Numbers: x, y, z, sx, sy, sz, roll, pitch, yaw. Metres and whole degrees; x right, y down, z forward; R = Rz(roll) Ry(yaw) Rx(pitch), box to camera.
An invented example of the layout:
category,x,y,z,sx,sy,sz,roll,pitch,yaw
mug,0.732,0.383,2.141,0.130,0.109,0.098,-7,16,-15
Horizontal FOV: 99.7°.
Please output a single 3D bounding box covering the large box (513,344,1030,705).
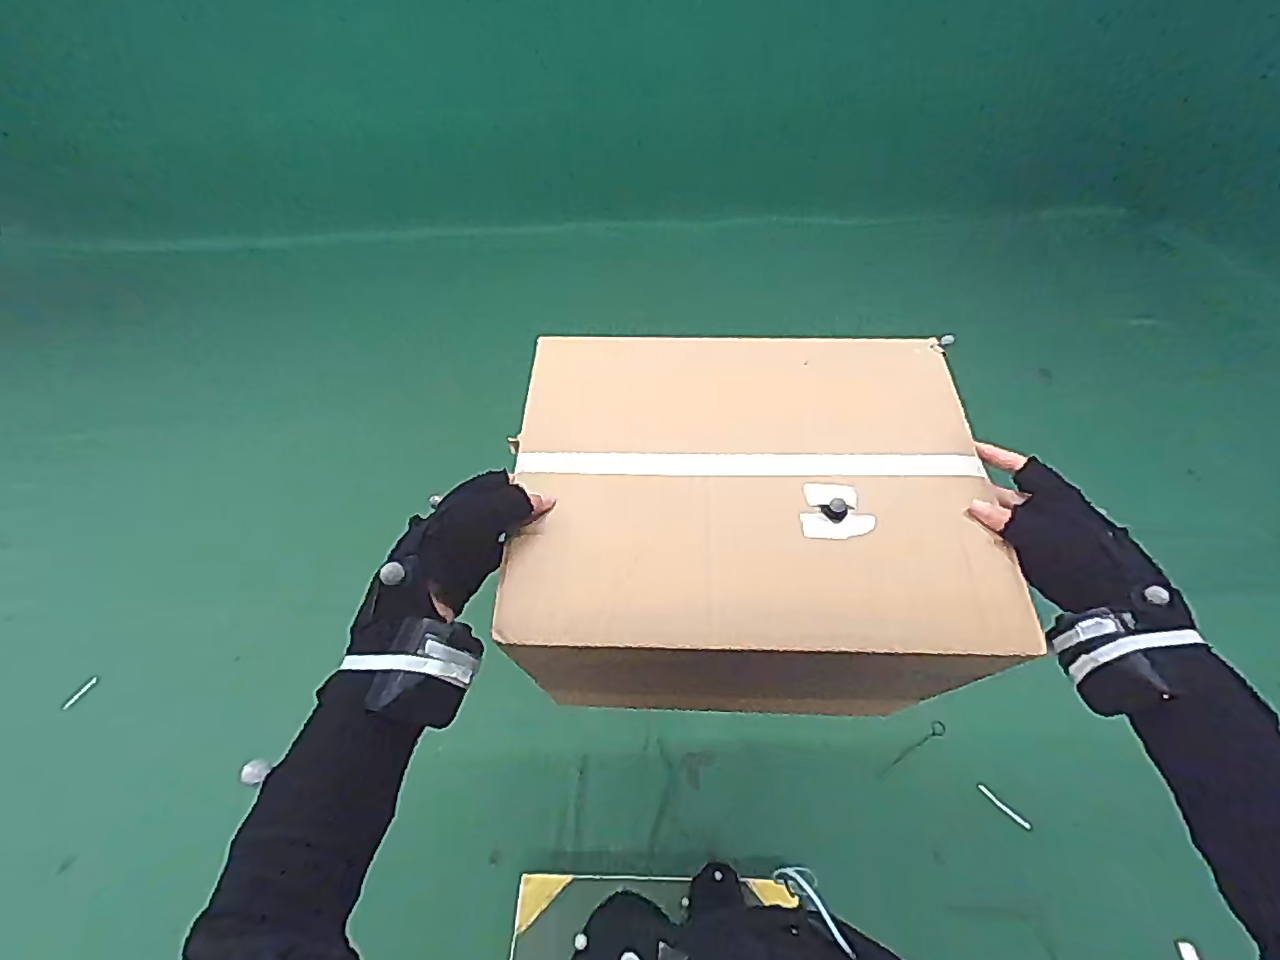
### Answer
category,x,y,z,sx,sy,sz,roll,pitch,yaw
large box,0.099,0.066,0.613,0.408,0.320,0.320,1,60,1
